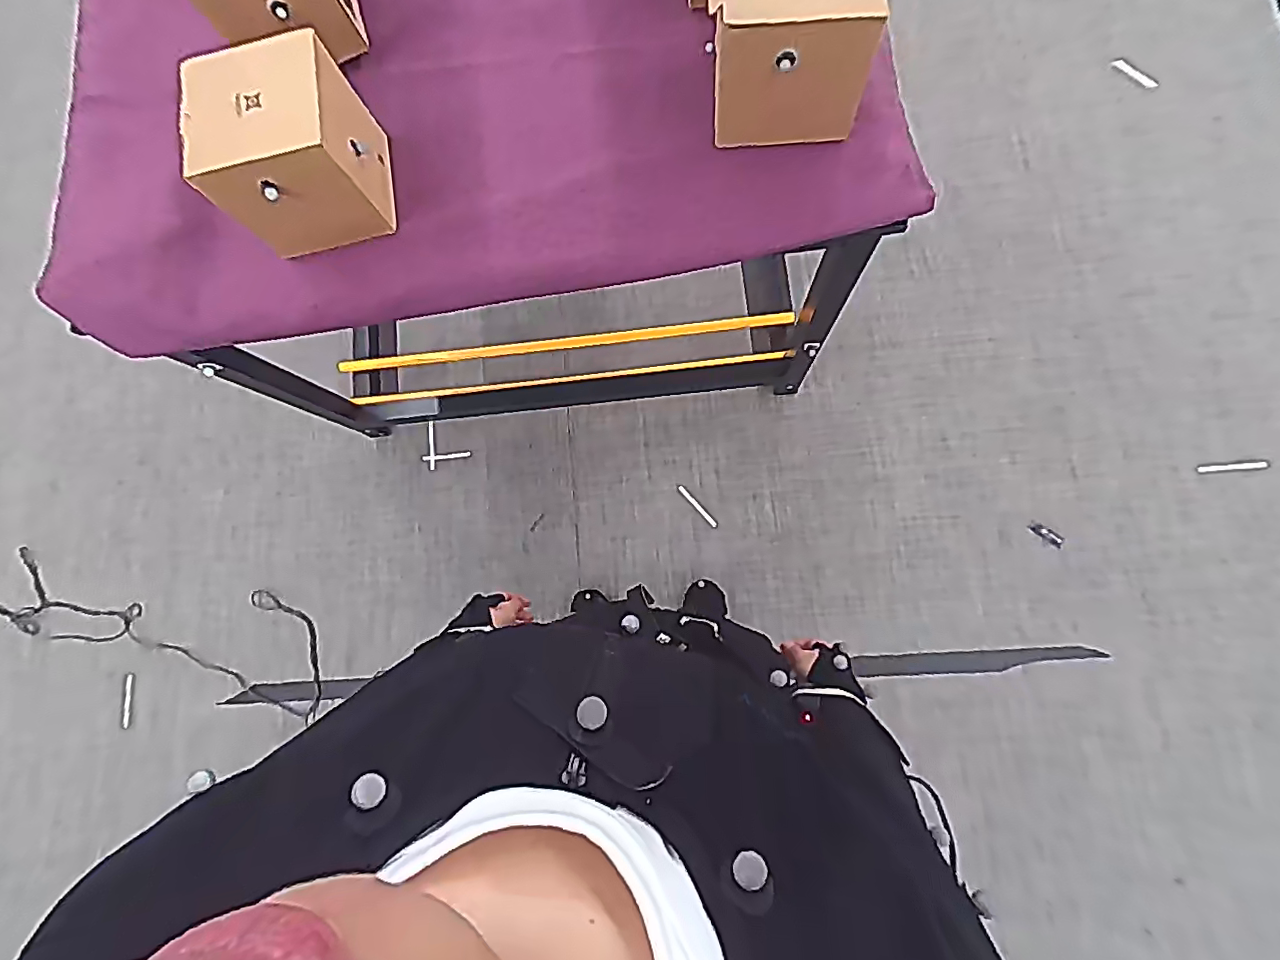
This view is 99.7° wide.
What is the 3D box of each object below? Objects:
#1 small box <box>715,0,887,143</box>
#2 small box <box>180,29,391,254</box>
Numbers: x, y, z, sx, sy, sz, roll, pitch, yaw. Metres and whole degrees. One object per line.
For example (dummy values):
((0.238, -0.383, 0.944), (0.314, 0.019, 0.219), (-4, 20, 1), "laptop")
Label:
((0.183, -0.548, 0.666), (0.179, 0.176, 0.168), (0, 80, 6), "small box")
((-0.450, -0.429, 0.713), (0.179, 0.176, 0.168), (-11, 79, 4), "small box")
